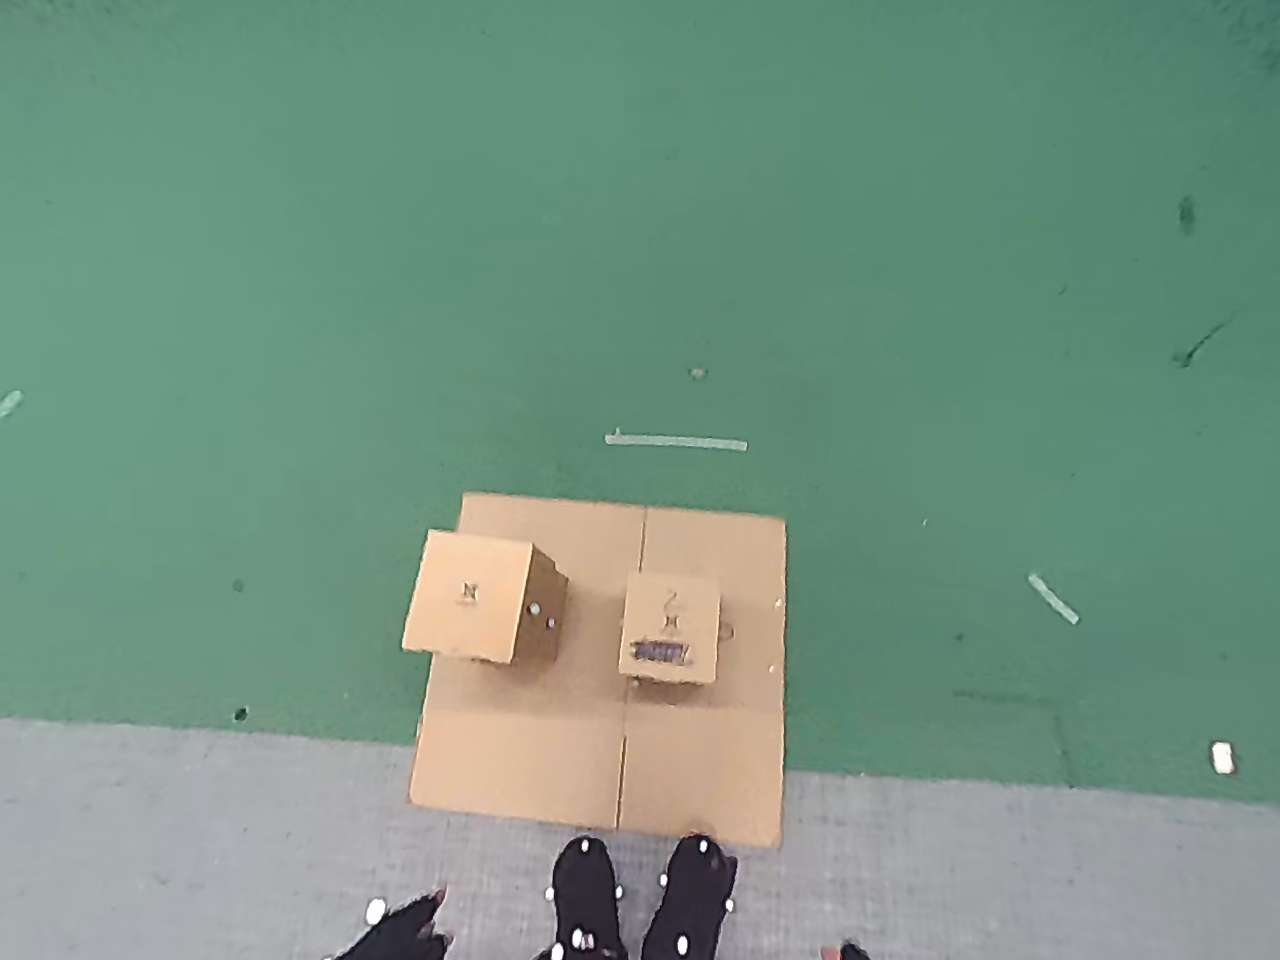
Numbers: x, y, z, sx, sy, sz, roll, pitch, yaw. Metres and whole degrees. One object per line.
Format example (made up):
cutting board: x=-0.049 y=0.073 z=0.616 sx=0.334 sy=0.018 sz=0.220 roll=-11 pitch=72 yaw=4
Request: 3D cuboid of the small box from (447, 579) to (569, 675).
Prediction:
small box: x=-0.237 y=0.265 z=1.022 sx=0.168 sy=0.176 sz=0.179 roll=5 pitch=71 yaw=6

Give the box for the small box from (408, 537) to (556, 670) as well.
small box: x=-0.240 y=0.204 z=0.871 sx=0.168 sy=0.176 sz=0.179 roll=6 pitch=72 yaw=5
